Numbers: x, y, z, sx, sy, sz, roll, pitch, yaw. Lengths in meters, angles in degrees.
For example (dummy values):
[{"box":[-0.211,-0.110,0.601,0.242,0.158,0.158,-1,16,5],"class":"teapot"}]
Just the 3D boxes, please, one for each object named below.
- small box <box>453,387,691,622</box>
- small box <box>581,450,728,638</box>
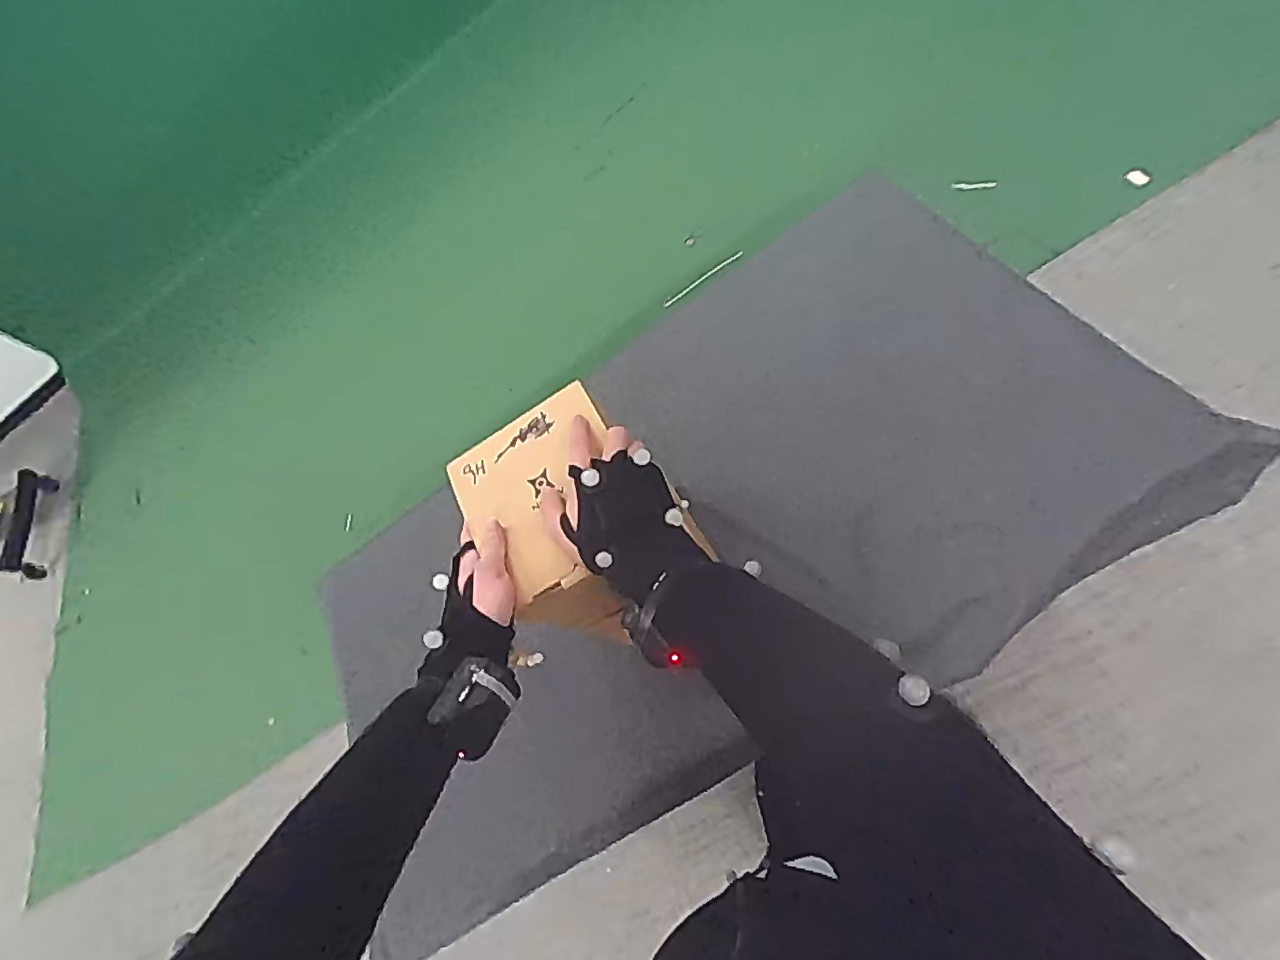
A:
[{"box":[-0.063,0.040,0.583,0.168,0.176,0.179,-32,66,4],"class":"small box"},{"box":[-0.004,0.096,0.722,0.168,0.176,0.179,-34,60,6],"class":"small box"}]
